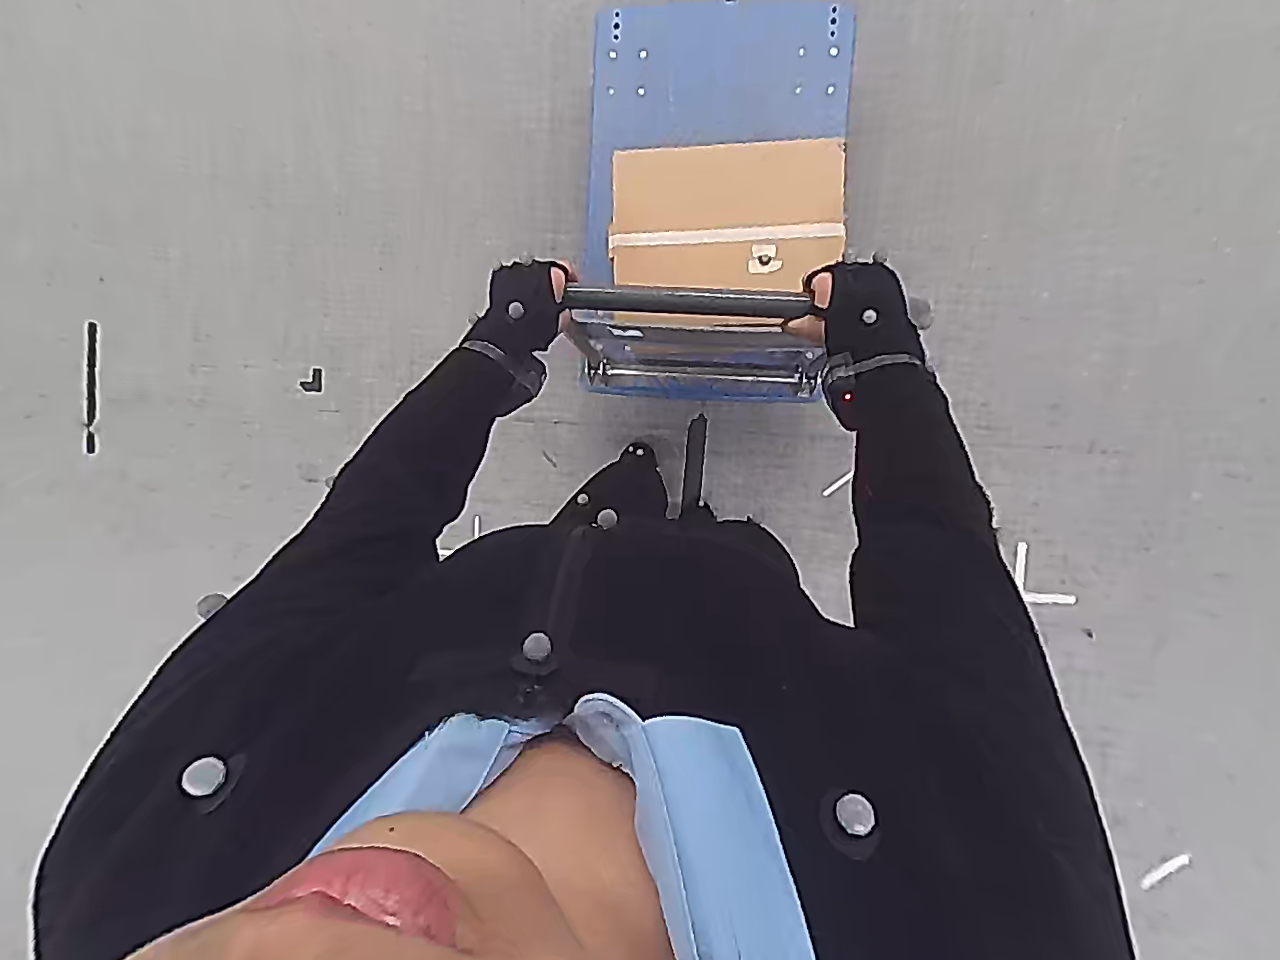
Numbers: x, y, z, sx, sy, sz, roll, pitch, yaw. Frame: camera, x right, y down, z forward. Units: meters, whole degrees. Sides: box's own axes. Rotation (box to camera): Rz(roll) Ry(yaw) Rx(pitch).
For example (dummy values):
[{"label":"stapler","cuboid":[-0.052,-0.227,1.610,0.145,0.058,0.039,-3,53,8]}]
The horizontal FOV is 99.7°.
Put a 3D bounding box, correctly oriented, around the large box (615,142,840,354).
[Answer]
[{"label":"large box","cuboid":[0.166,-0.445,1.119,0.408,0.320,0.320,0,95,5]}]
